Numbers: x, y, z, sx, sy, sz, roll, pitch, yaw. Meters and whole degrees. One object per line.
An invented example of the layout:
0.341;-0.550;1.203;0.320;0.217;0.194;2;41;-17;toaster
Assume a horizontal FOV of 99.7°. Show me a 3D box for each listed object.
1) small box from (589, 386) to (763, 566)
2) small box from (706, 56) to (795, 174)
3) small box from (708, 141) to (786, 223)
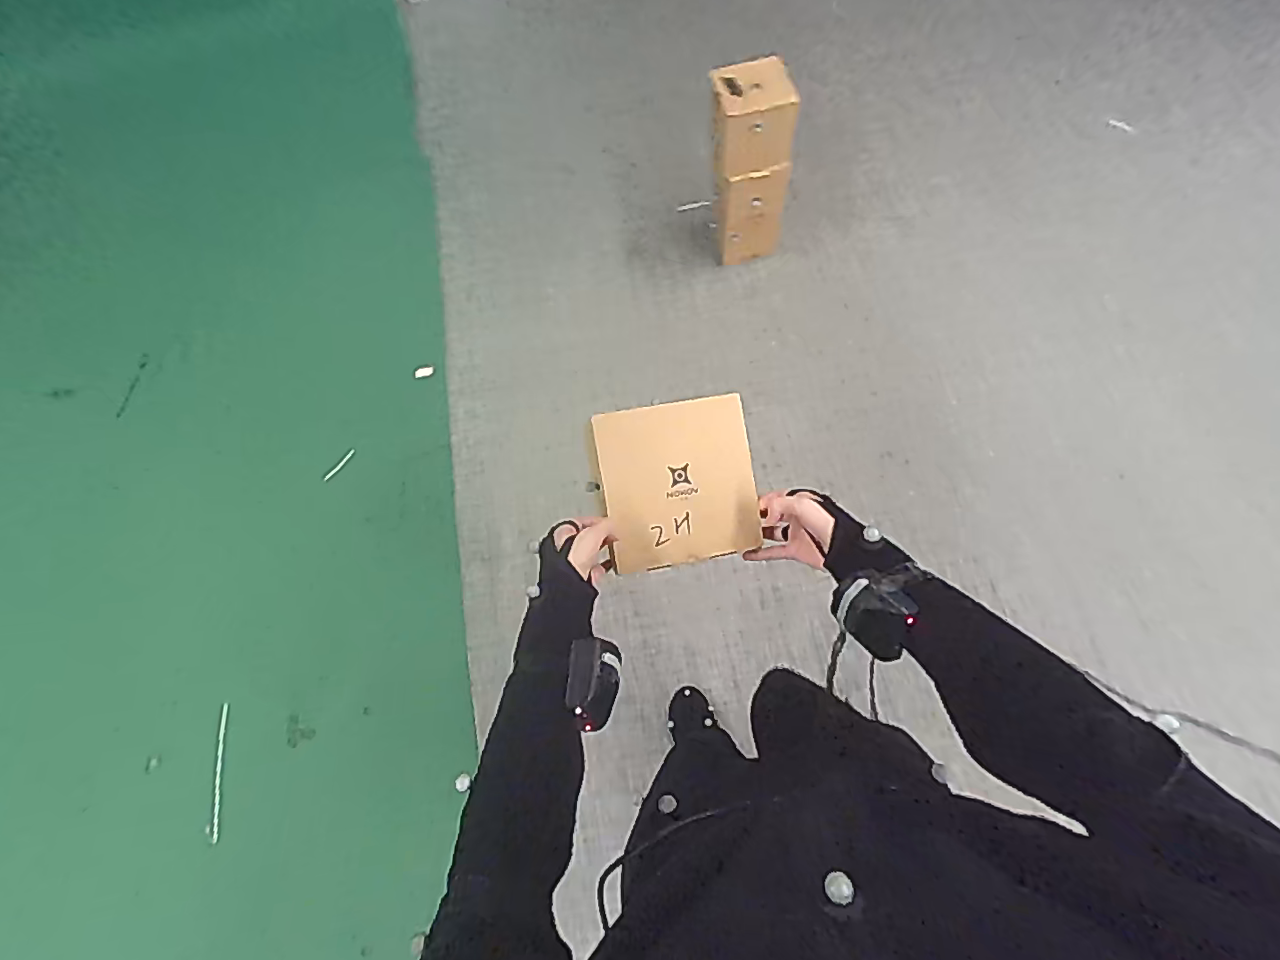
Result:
0.032;-0.007;0.653;0.168;0.176;0.179;-8;93;-7;small box
0.268;-0.907;1.358;0.179;0.176;0.168;-13;70;0;small box
0.292;-0.849;1.511;0.168;0.176;0.179;-14;71;0;small box
